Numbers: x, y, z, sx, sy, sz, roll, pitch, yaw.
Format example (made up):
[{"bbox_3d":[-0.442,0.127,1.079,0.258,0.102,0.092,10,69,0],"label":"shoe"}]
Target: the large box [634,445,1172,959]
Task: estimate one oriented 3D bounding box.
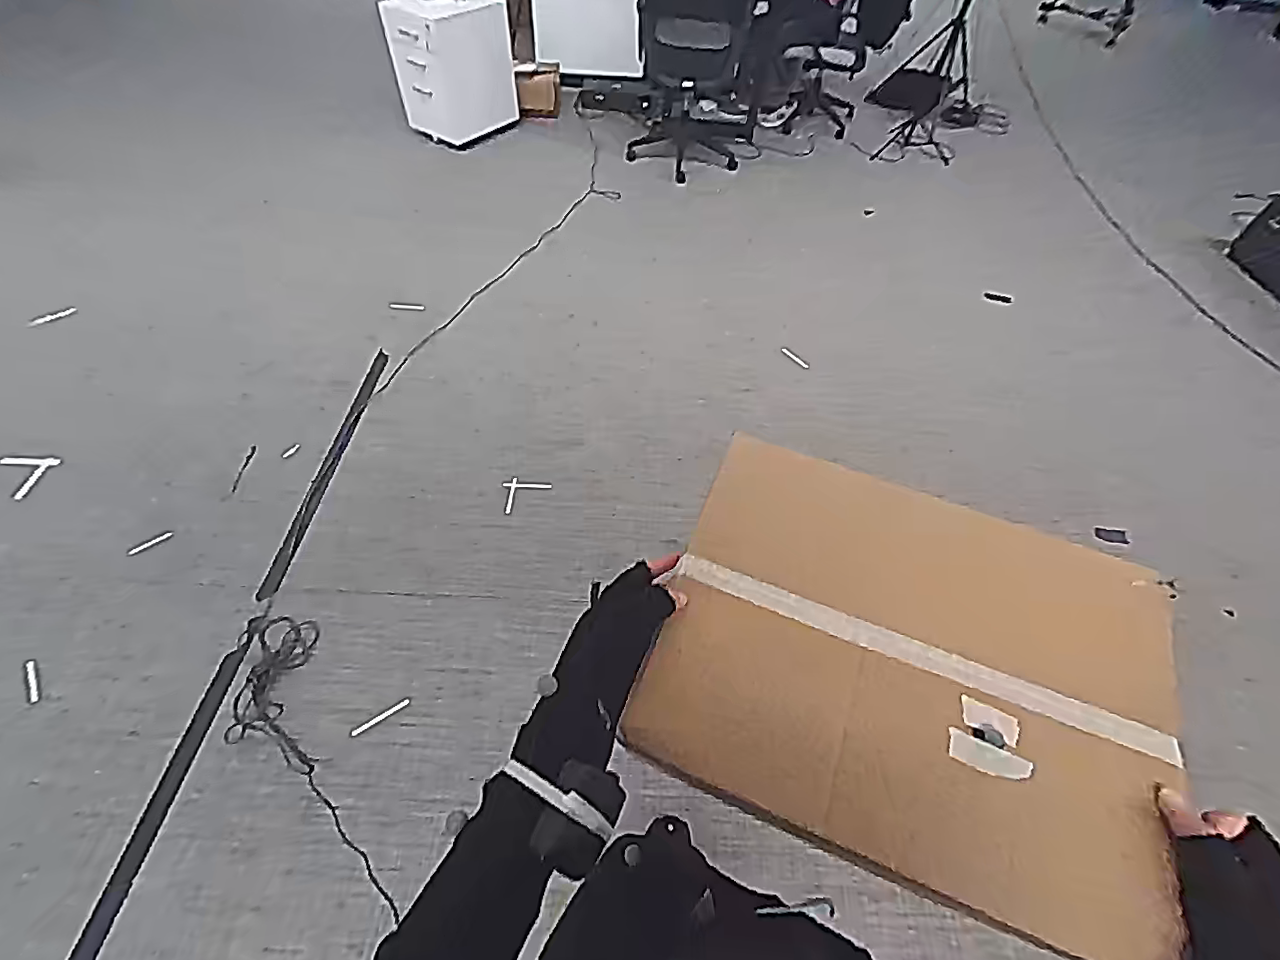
[{"bbox_3d":[0.232,0.219,0.596,0.408,0.320,0.320,21,65,11],"label":"large box"}]
